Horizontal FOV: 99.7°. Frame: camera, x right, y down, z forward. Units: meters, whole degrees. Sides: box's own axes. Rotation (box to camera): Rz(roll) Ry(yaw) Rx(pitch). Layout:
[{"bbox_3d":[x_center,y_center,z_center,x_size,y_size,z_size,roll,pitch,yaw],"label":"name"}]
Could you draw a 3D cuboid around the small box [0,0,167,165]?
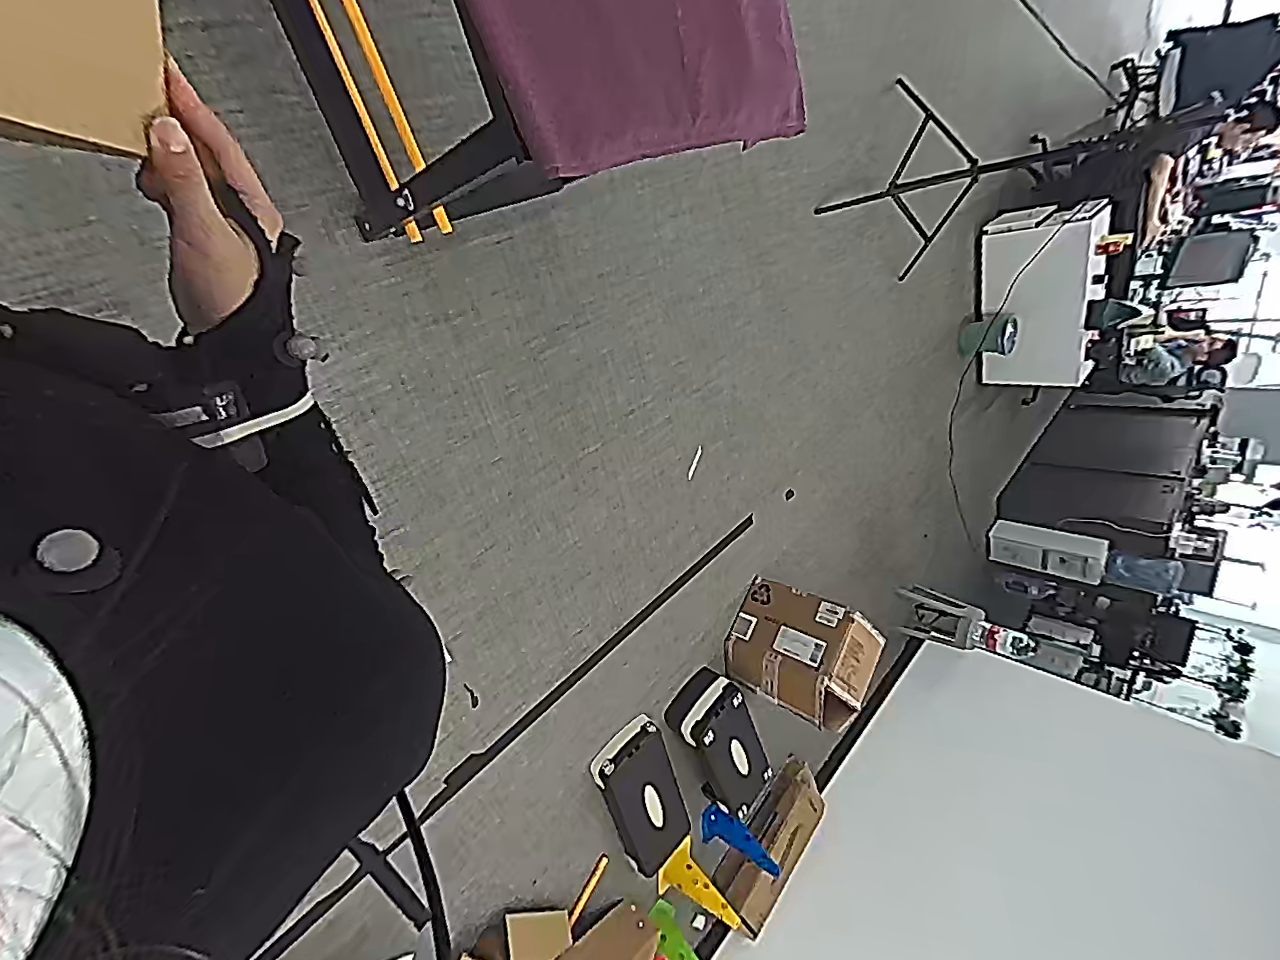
[{"bbox_3d":[-0.321,-0.235,0.185,0.179,0.168,0.176,10,110,-2],"label":"small box"}]
